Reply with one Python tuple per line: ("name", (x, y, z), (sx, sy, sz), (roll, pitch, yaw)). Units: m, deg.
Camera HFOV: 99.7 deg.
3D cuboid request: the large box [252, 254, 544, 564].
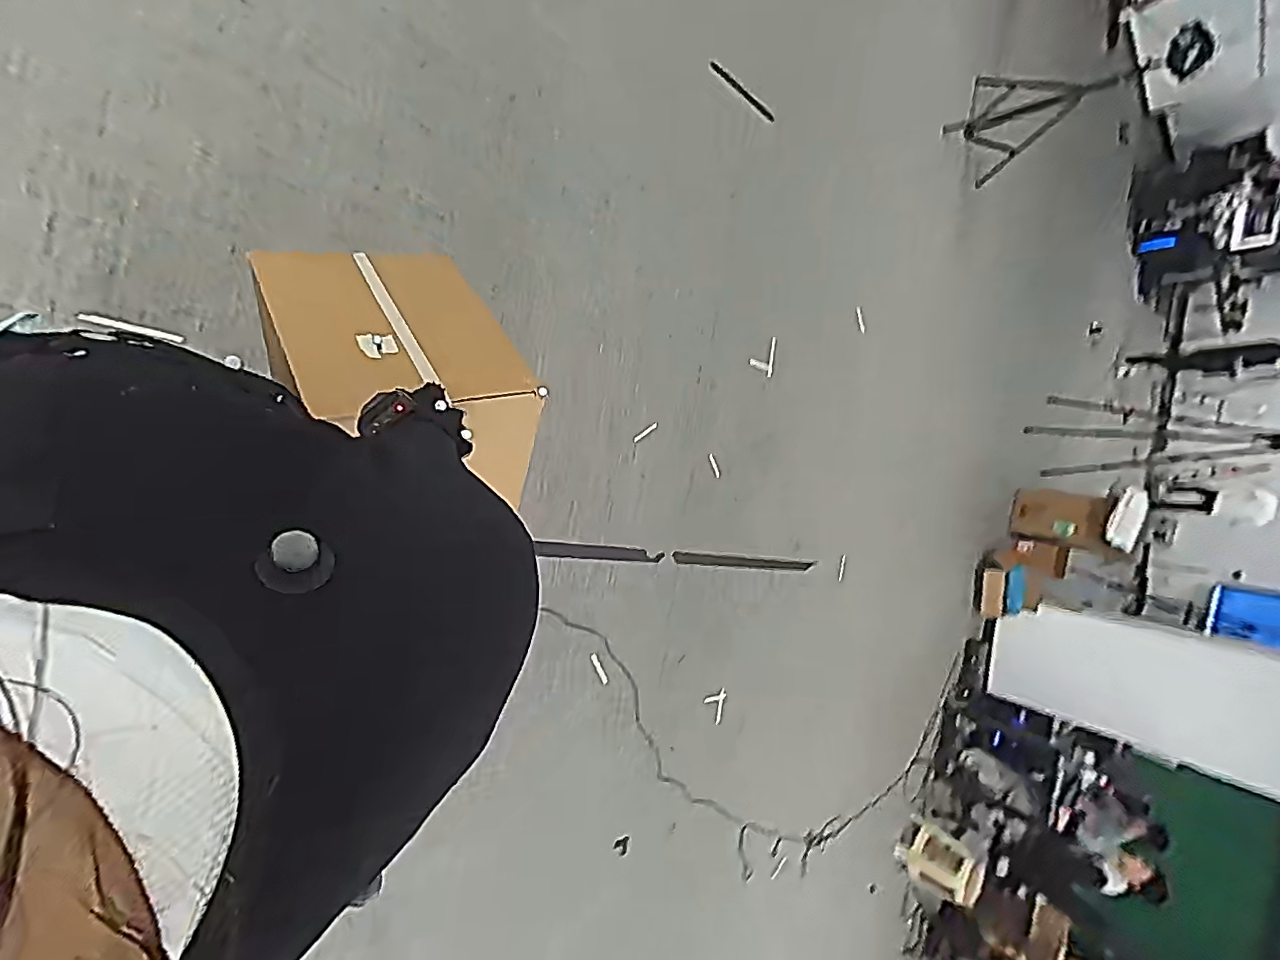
("large box", (-0.419, -0.134, 0.926), (0.320, 0.408, 0.320), (-15, 146, -35))
